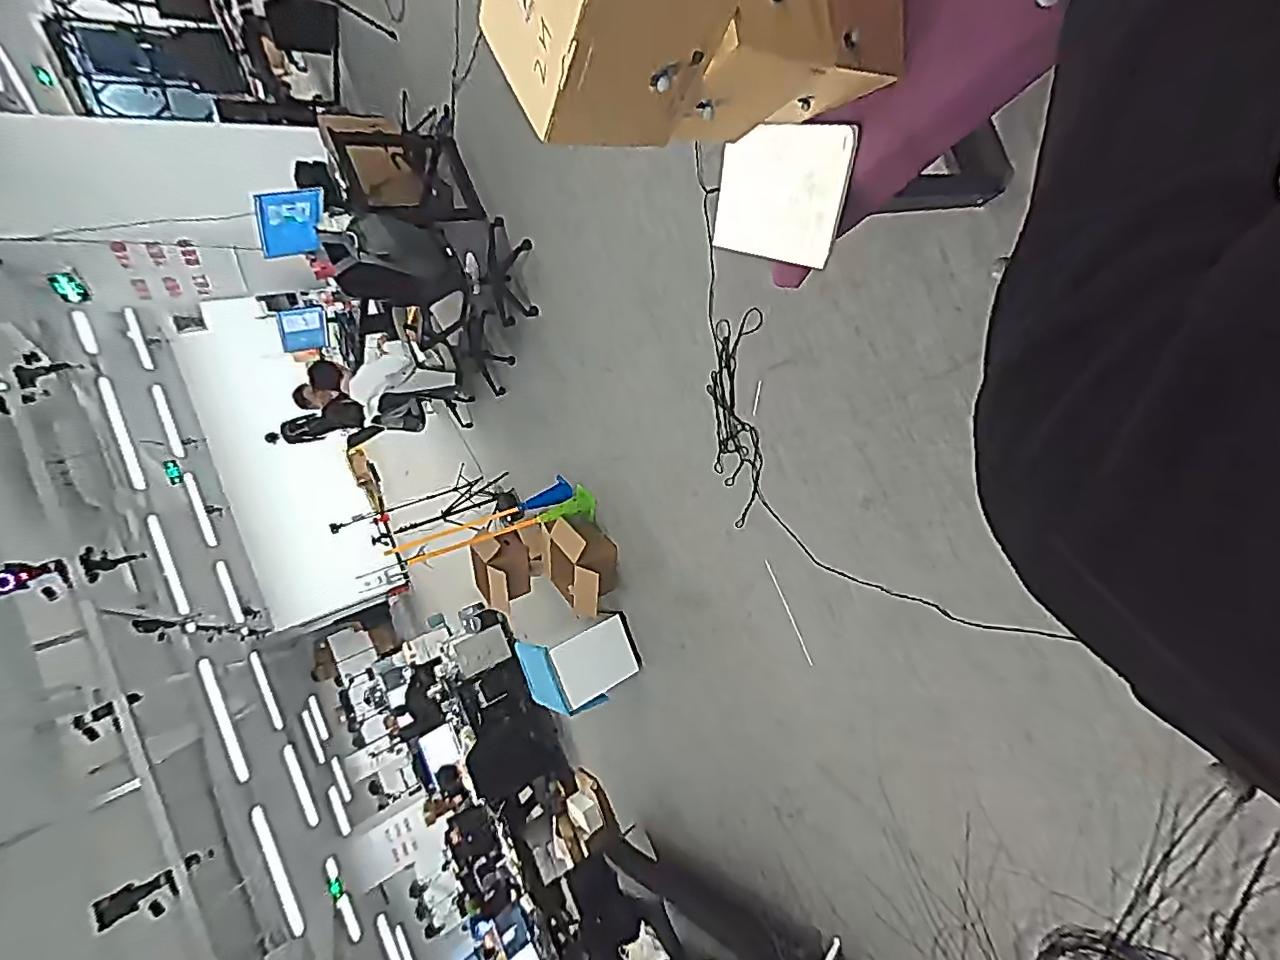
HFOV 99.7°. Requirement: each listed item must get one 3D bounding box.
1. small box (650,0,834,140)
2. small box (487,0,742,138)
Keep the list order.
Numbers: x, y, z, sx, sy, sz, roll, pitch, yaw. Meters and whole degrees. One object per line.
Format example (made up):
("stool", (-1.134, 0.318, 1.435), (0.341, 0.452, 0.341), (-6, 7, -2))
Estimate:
("small box", (0.104, -0.528, 0.632), (0.179, 0.176, 0.168), (0, 107, 57))
("small box", (-0.031, -0.480, 0.551), (0.179, 0.176, 0.168), (63, 149, 10))
